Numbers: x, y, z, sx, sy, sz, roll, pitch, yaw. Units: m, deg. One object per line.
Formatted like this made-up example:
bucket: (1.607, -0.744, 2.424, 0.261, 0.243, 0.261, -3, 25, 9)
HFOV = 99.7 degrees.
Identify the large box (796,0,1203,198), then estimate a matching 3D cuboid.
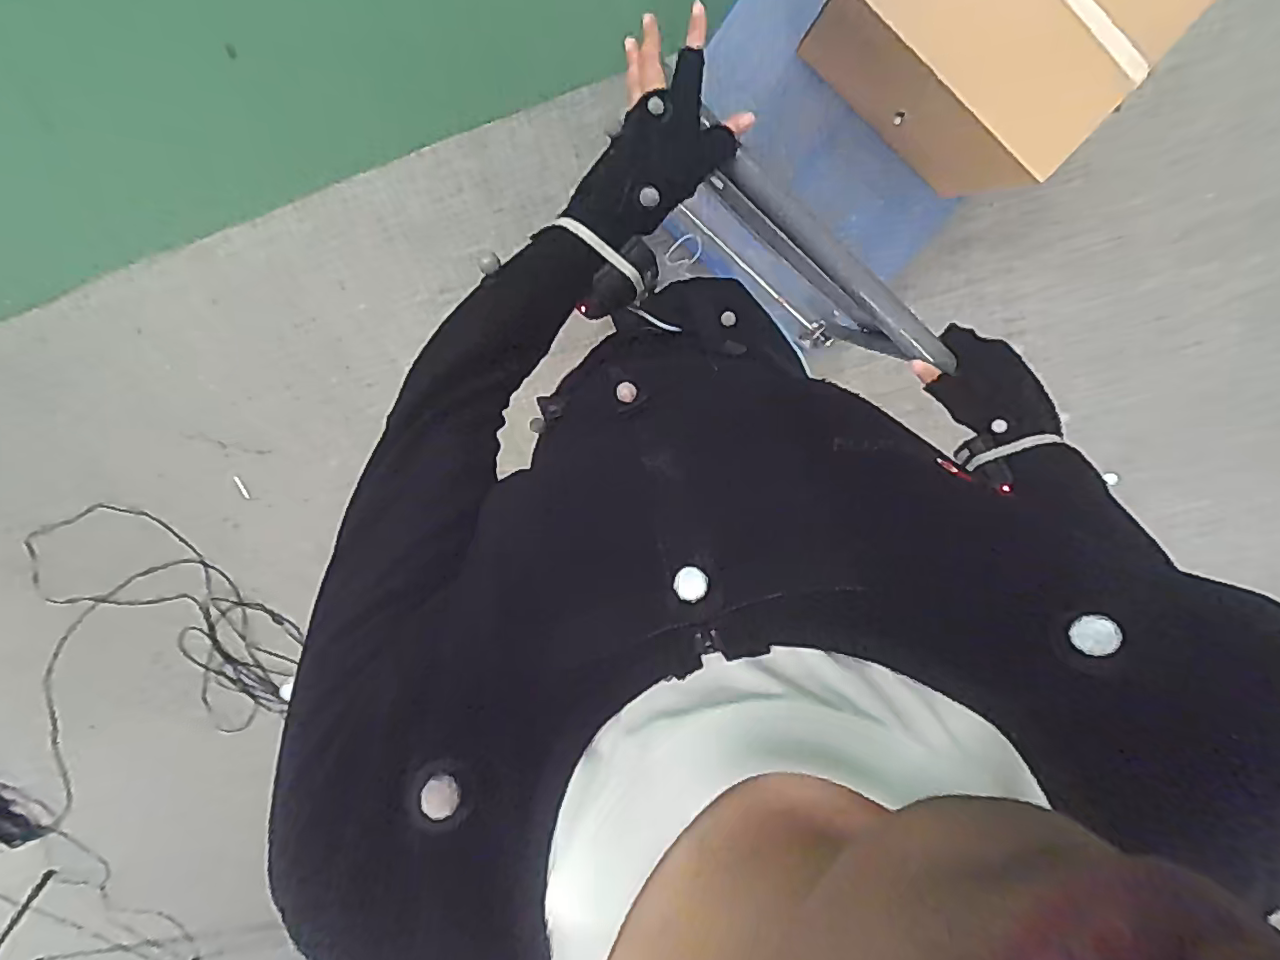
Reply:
large box: (0.520, -0.712, 0.843, 0.408, 0.320, 0.320, 36, 110, -10)
